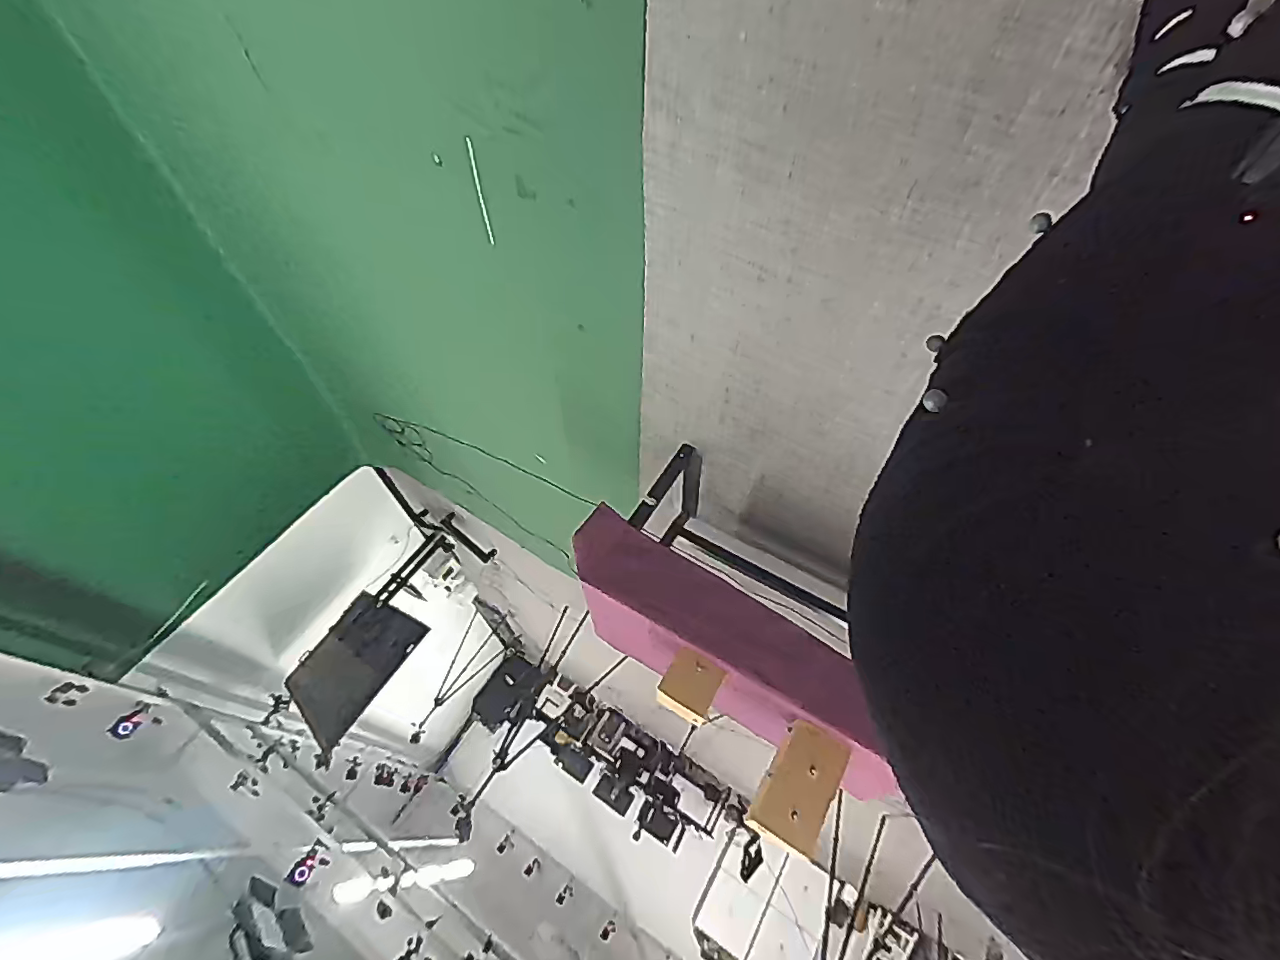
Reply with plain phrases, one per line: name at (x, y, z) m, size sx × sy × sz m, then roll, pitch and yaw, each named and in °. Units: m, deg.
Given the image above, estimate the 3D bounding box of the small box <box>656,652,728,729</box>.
small box at (0.172, 0.698, 1.812) m, size 0.179 × 0.176 × 0.168 m, roll 28°, pitch 151°, yaw 17°

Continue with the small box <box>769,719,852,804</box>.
small box at (0.531, 0.874, 1.678) m, size 0.179 × 0.176 × 0.168 m, roll 29°, pitch 150°, yaw 16°

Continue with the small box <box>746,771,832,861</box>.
small box at (0.440, 0.989, 1.604) m, size 0.179 × 0.176 × 0.168 m, roll 27°, pitch 150°, yaw 16°
